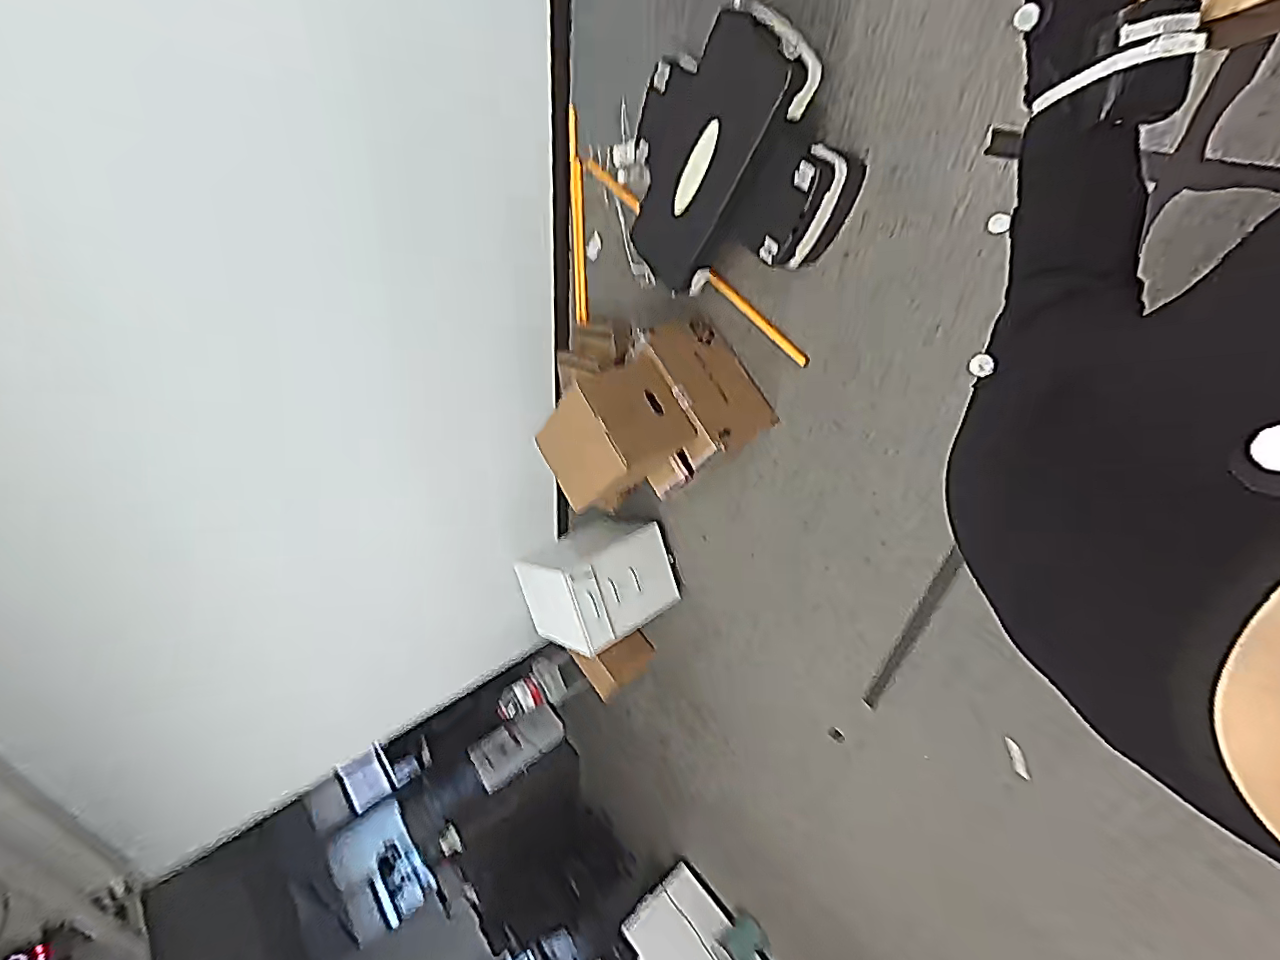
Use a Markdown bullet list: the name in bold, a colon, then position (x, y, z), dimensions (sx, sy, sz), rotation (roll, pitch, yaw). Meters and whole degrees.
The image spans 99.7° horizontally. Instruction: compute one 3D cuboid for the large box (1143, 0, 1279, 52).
- **large box**: position (0.534, -0.468, 0.242), dimensions (0.408, 0.320, 0.320), rotation (12, 124, 51)
